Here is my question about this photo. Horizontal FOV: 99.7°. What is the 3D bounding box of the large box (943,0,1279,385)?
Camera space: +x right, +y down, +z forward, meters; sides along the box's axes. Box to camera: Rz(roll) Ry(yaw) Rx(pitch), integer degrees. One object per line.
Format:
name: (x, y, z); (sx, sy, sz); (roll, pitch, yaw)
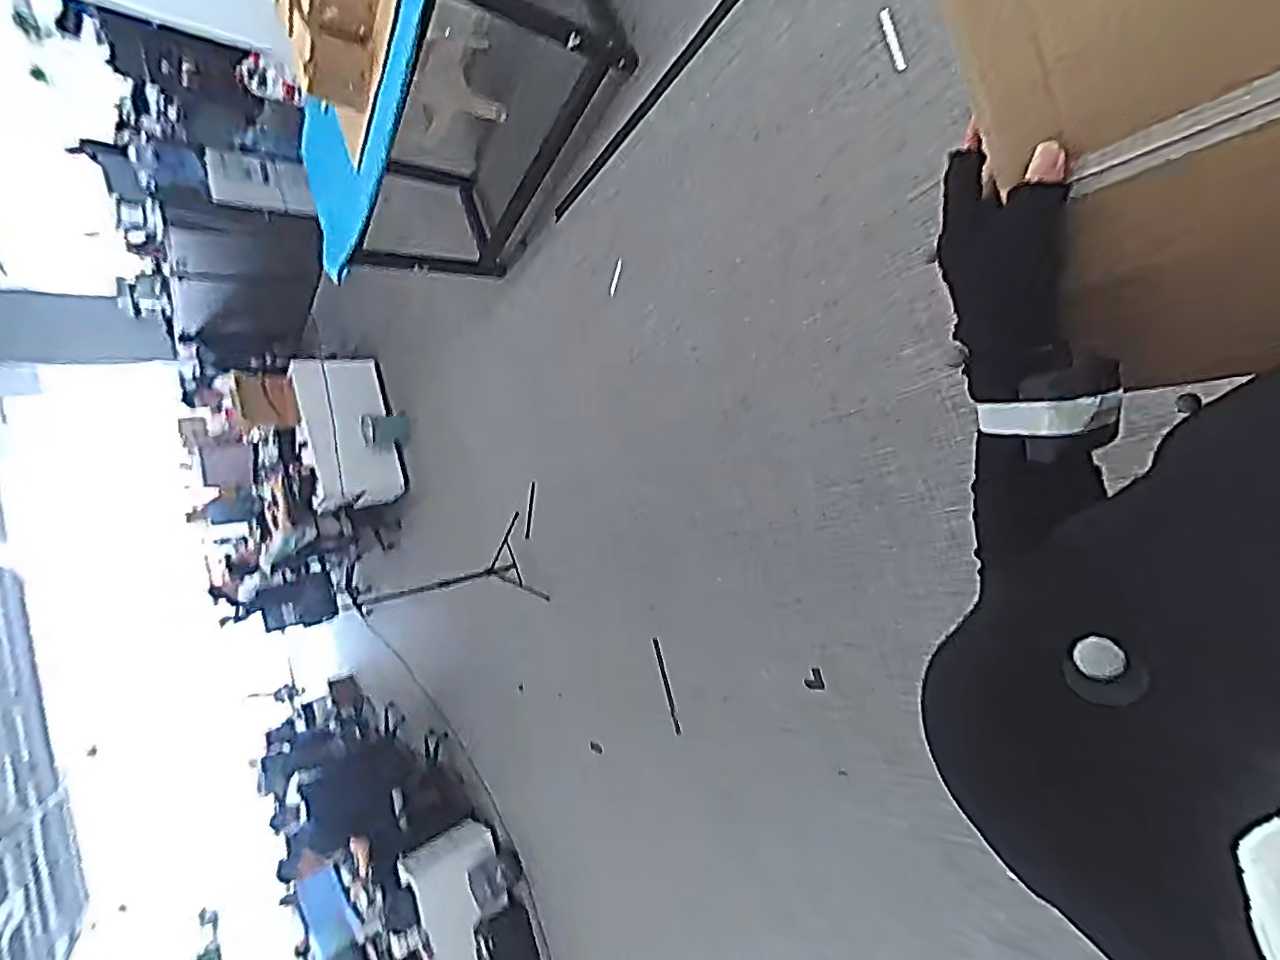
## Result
large box: (0.445, -0.295, 0.269); (0.408, 0.320, 0.320); (-6, 128, 53)
